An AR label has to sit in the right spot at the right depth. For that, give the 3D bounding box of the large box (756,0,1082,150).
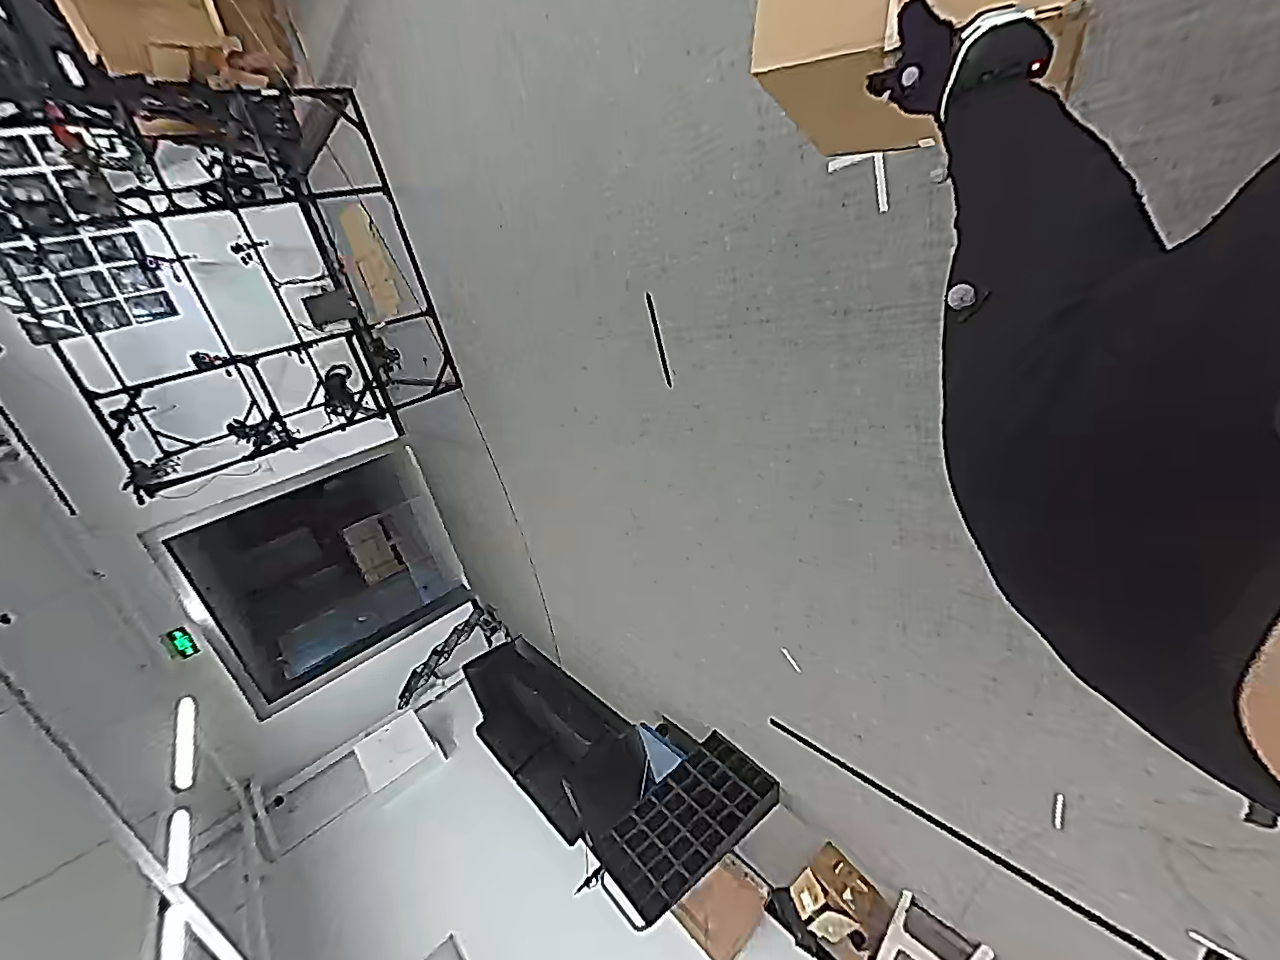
[{"bbox_3d":[0.351,-0.666,0.627,0.320,0.320,0.408,13,109,32],"label":"large box"}]
